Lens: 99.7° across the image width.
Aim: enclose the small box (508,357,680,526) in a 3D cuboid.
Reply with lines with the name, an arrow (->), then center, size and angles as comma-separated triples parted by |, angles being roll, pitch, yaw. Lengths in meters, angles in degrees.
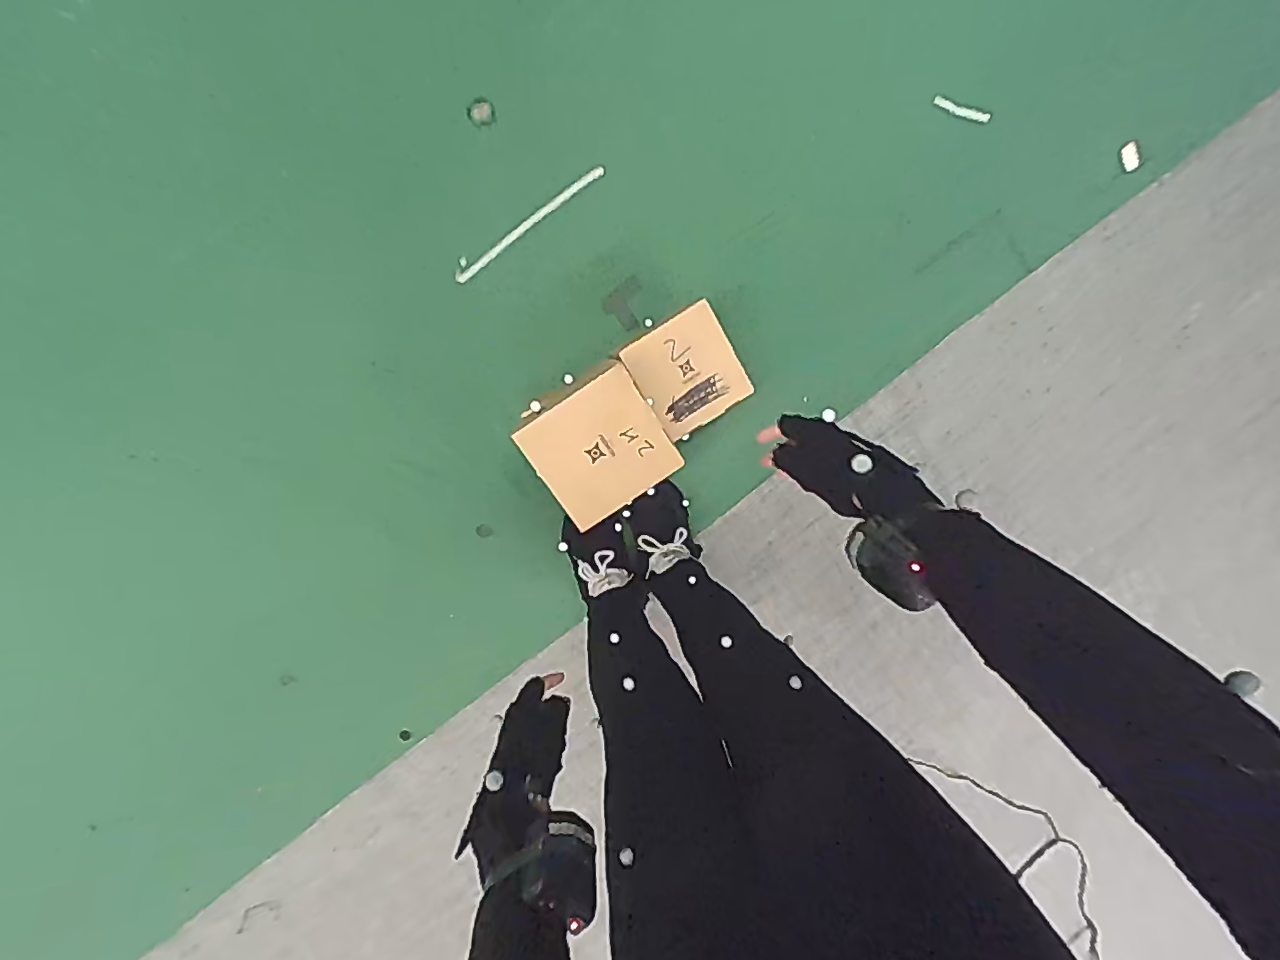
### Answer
small box -> -0.068, -0.064, 0.794 | 0.179, 0.176, 0.168 | -34, 106, 0
